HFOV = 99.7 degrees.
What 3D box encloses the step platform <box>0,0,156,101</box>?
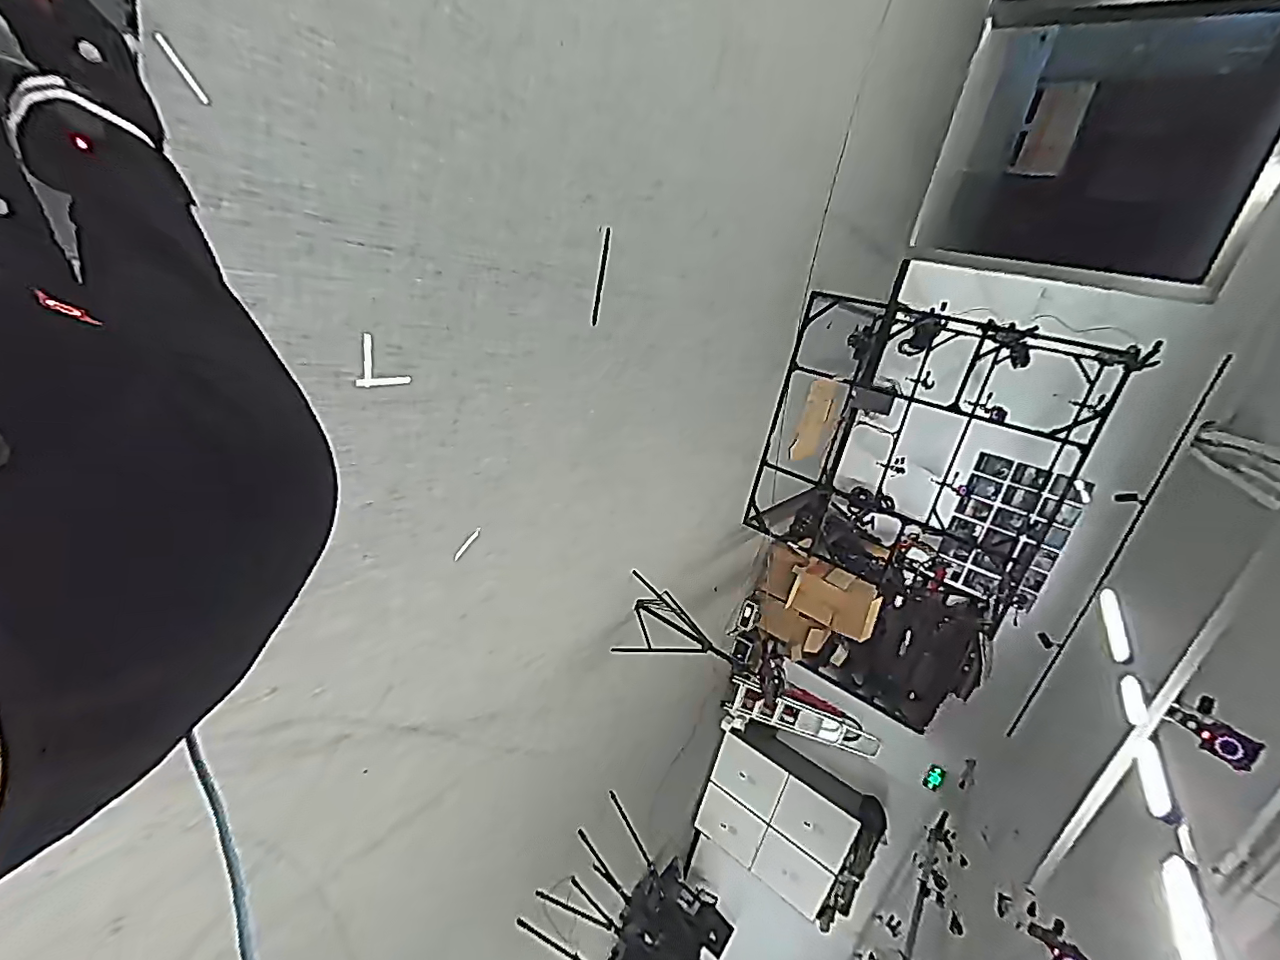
[{"bbox_3d":[-1.092,-0.773,0.706,0.684,0.204,0.286,-19,126,-53],"label":"step platform"}]
